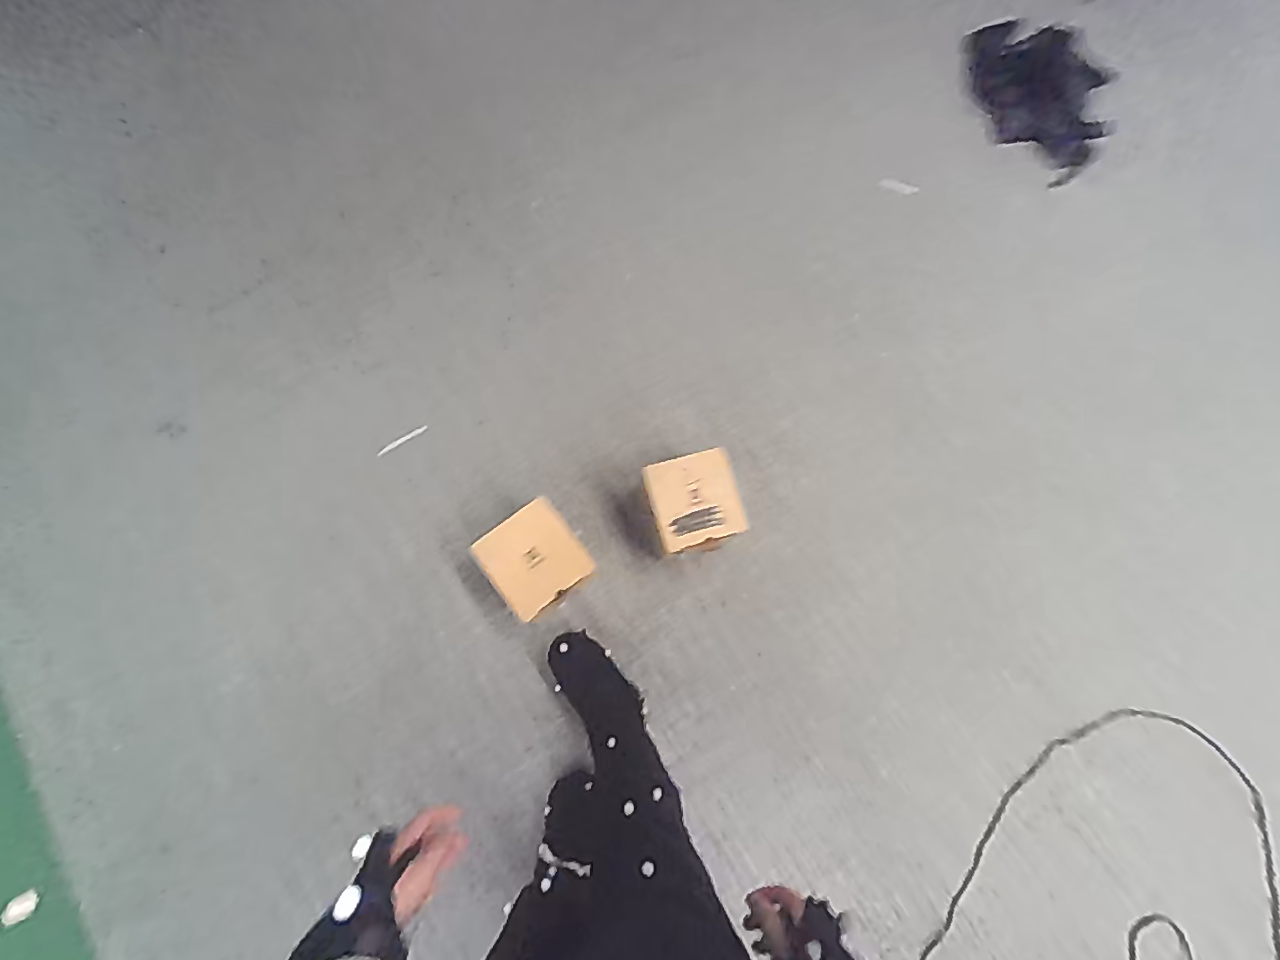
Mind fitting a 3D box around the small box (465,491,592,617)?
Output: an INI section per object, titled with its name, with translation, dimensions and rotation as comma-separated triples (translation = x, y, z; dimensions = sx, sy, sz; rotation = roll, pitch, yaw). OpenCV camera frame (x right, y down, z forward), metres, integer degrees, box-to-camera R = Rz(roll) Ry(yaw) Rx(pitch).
[small box]
translation = -0.210, 0.151, 1.056
dimensions = 0.168, 0.176, 0.179
rotation = -37, 82, -12
